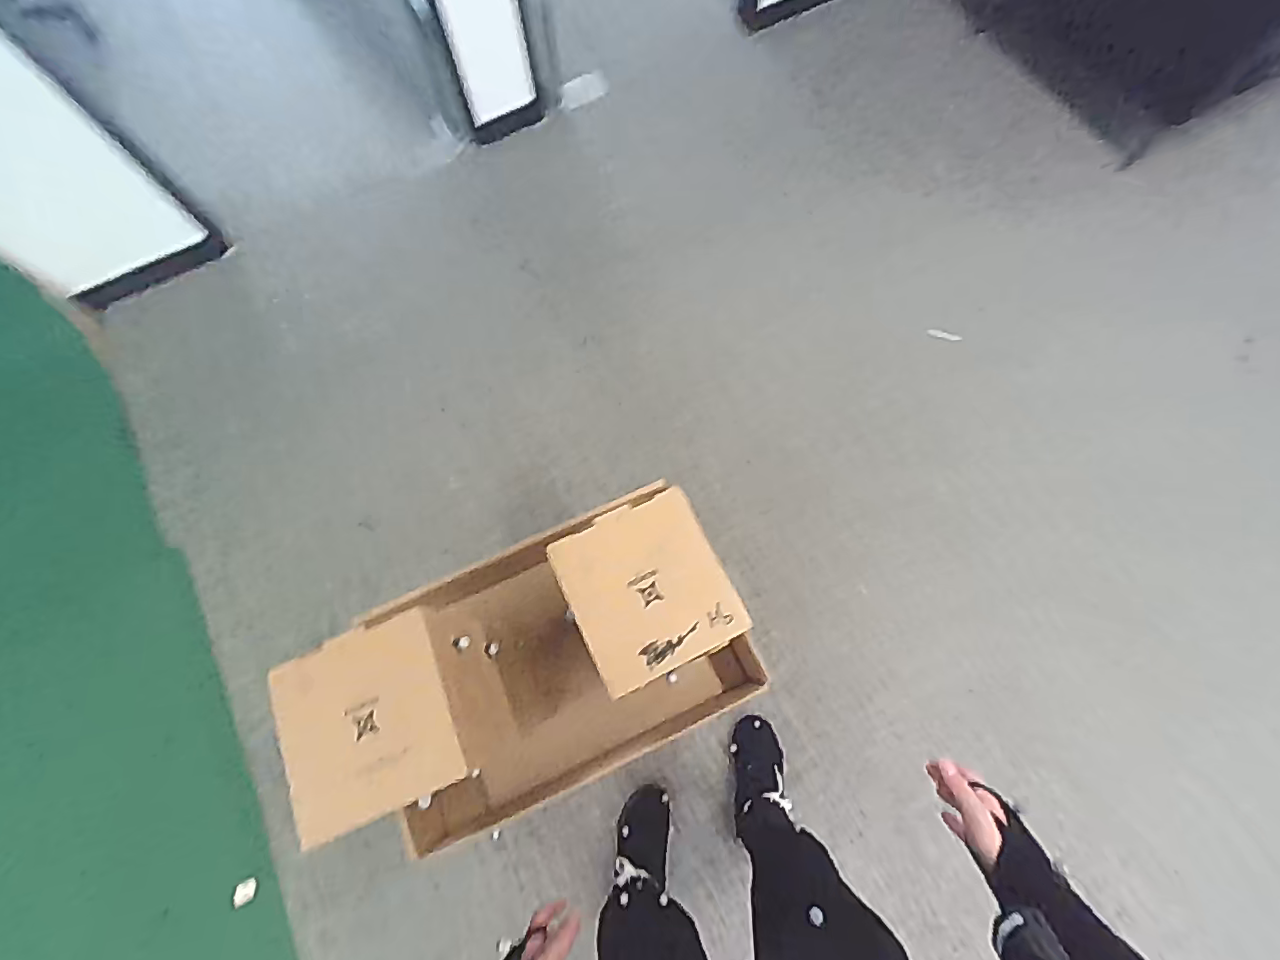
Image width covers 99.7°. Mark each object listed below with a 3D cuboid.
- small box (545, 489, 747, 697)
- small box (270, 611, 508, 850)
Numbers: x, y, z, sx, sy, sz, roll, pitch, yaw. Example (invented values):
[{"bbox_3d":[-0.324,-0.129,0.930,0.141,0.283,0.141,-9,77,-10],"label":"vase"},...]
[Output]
[{"bbox_3d":[0.003,0.140,0.652,0.168,0.176,0.179,-26,73,-7],"label":"small box"},{"bbox_3d":[-0.271,0.269,0.613,0.168,0.176,0.179,-23,72,-5],"label":"small box"}]
